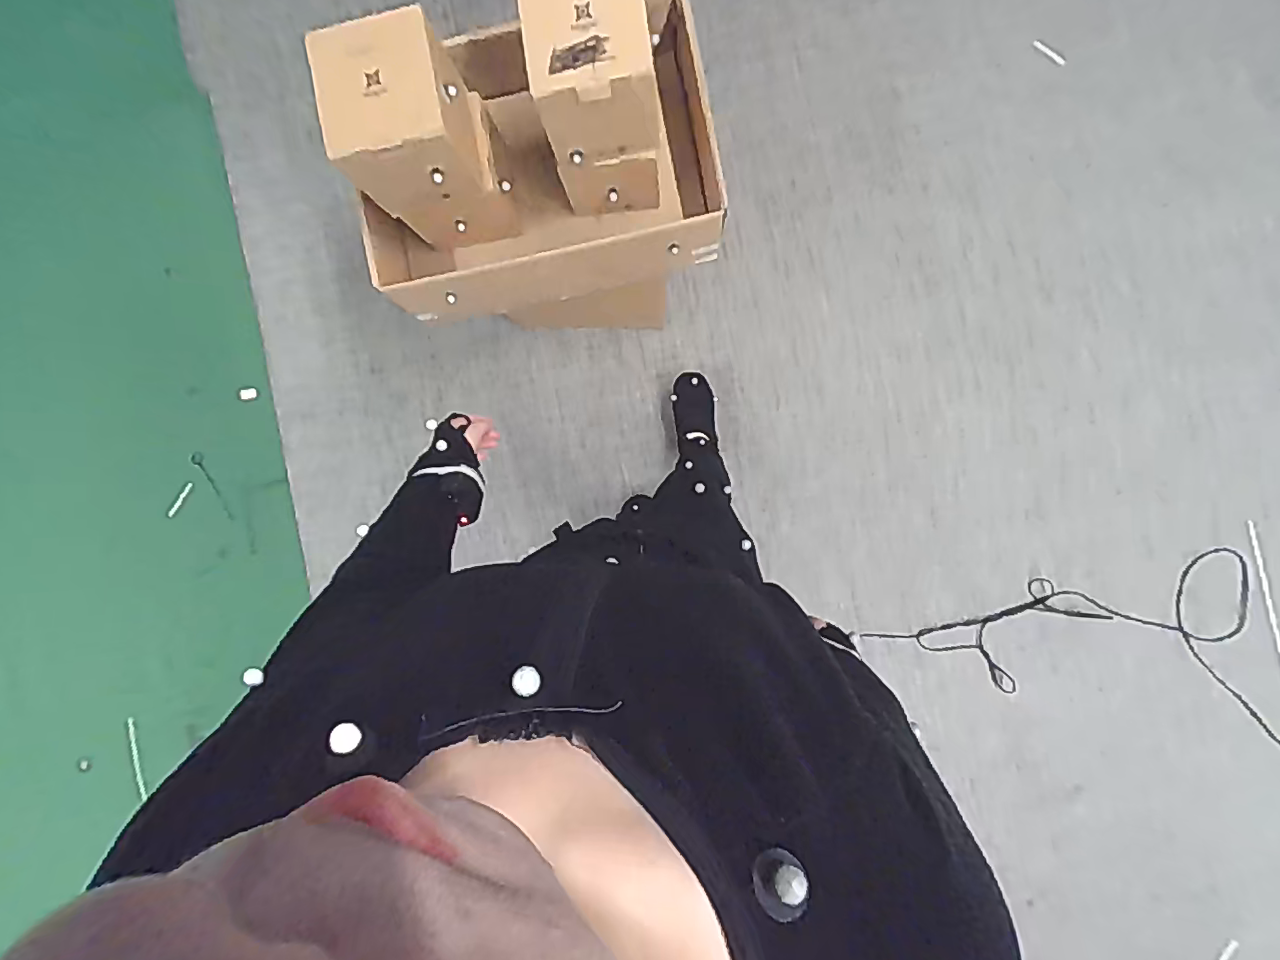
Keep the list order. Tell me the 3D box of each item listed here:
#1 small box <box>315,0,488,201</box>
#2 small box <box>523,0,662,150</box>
[{"bbox_3d":[-0.341,-0.545,0.807,0.168,0.176,0.179,-10,89,5],"label":"small box"},{"bbox_3d":[-0.062,-0.610,0.781,0.168,0.176,0.179,-8,89,5],"label":"small box"}]
